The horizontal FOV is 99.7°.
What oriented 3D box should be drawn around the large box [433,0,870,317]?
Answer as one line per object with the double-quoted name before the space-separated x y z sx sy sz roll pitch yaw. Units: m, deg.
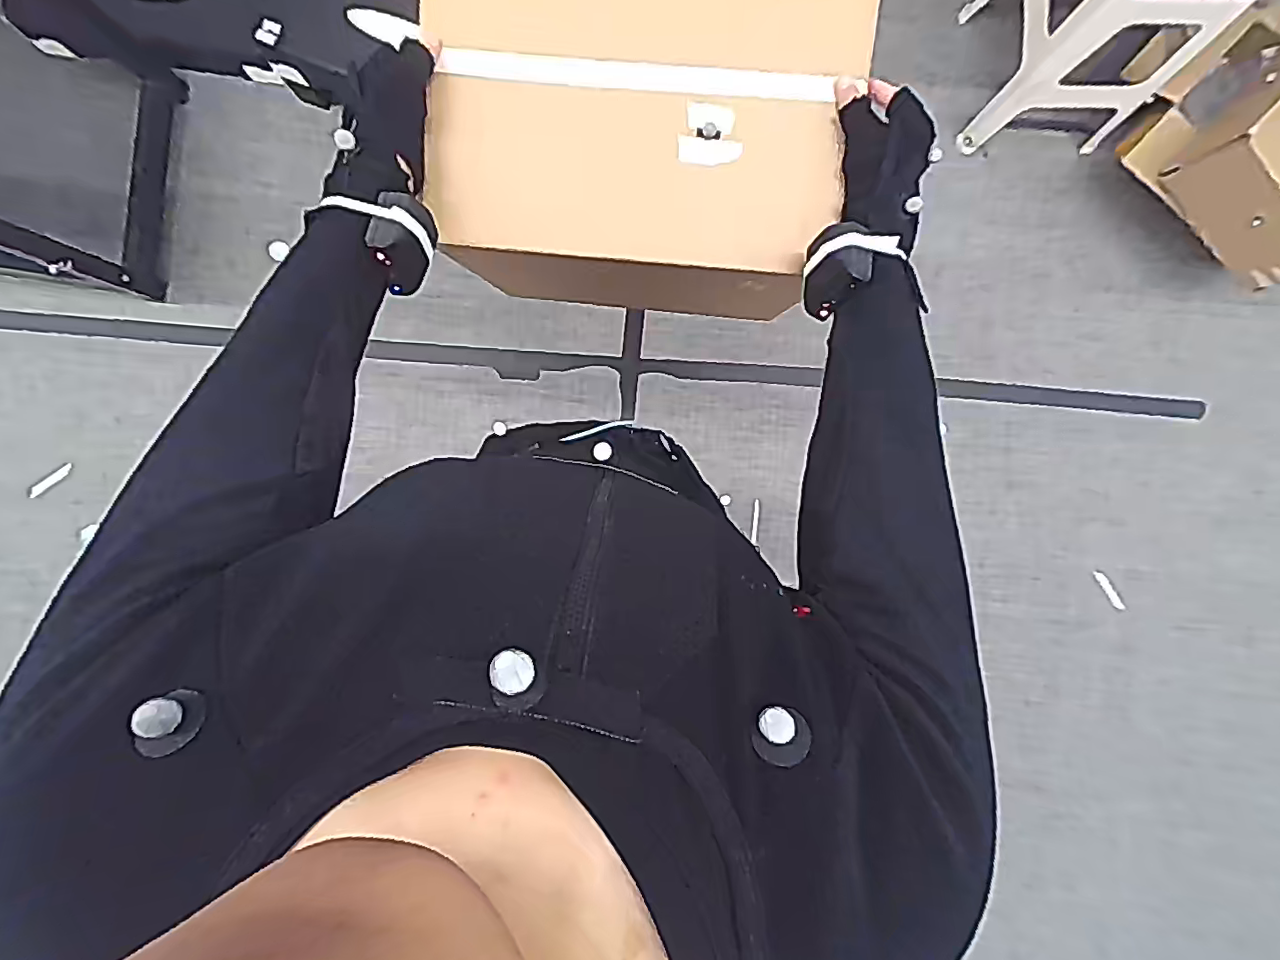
"large box" 0.007 -0.388 0.652 0.408 0.320 0.320 5 100 0
